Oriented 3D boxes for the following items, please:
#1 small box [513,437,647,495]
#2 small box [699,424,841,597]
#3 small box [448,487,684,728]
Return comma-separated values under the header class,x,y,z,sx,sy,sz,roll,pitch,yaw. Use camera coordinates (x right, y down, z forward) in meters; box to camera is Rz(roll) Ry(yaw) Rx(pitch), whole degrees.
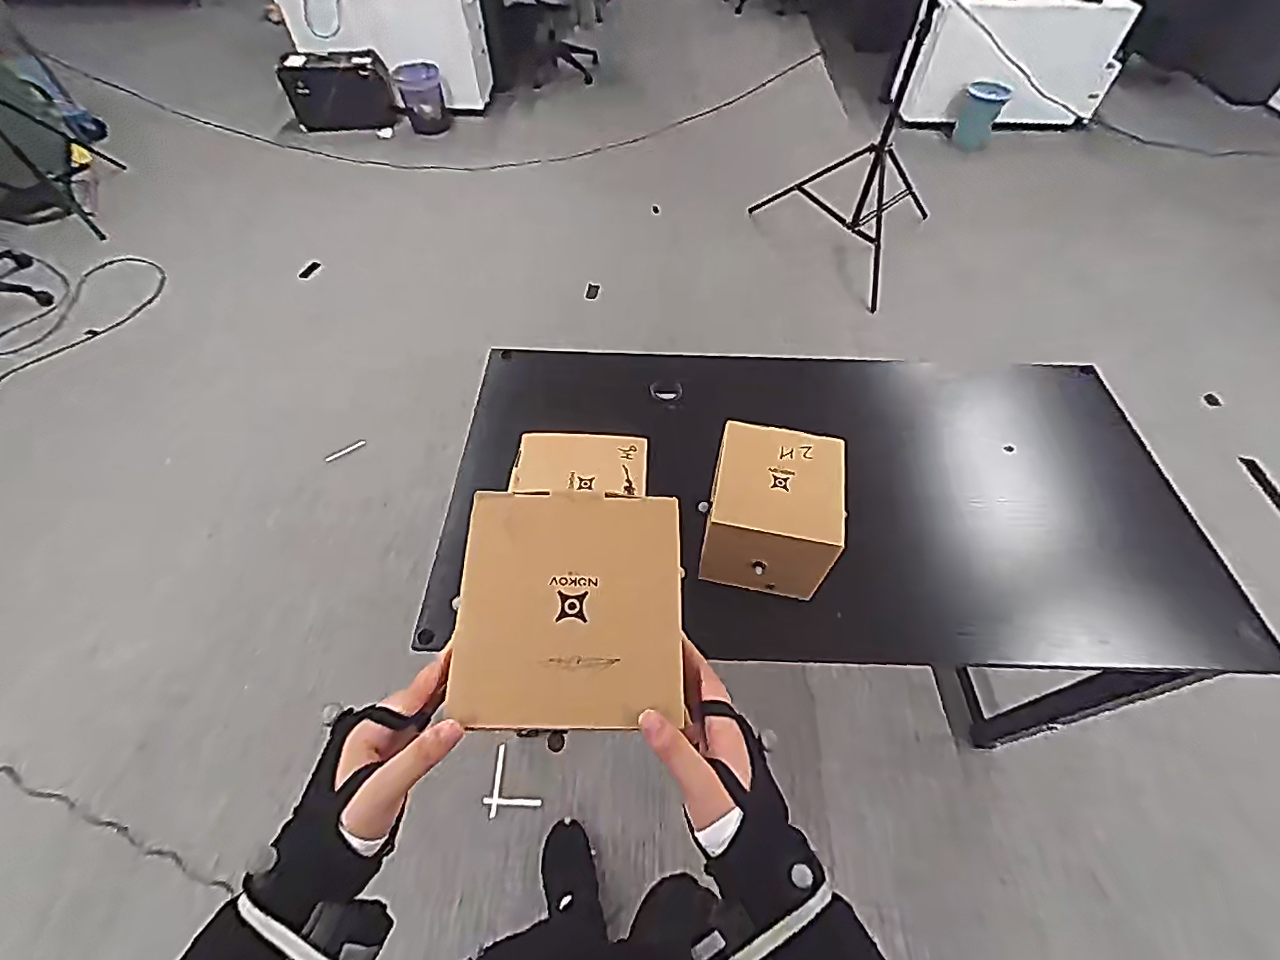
class,x,y,z,sx,sy,sz,roll,pitch,yaw
small box,-0.080,0.056,0.775,0.179,0.176,0.168,2,54,1
small box,0.183,0.049,0.783,0.168,0.176,0.179,11,54,6
small box,-0.056,0.122,0.480,0.168,0.176,0.179,2,65,-4
